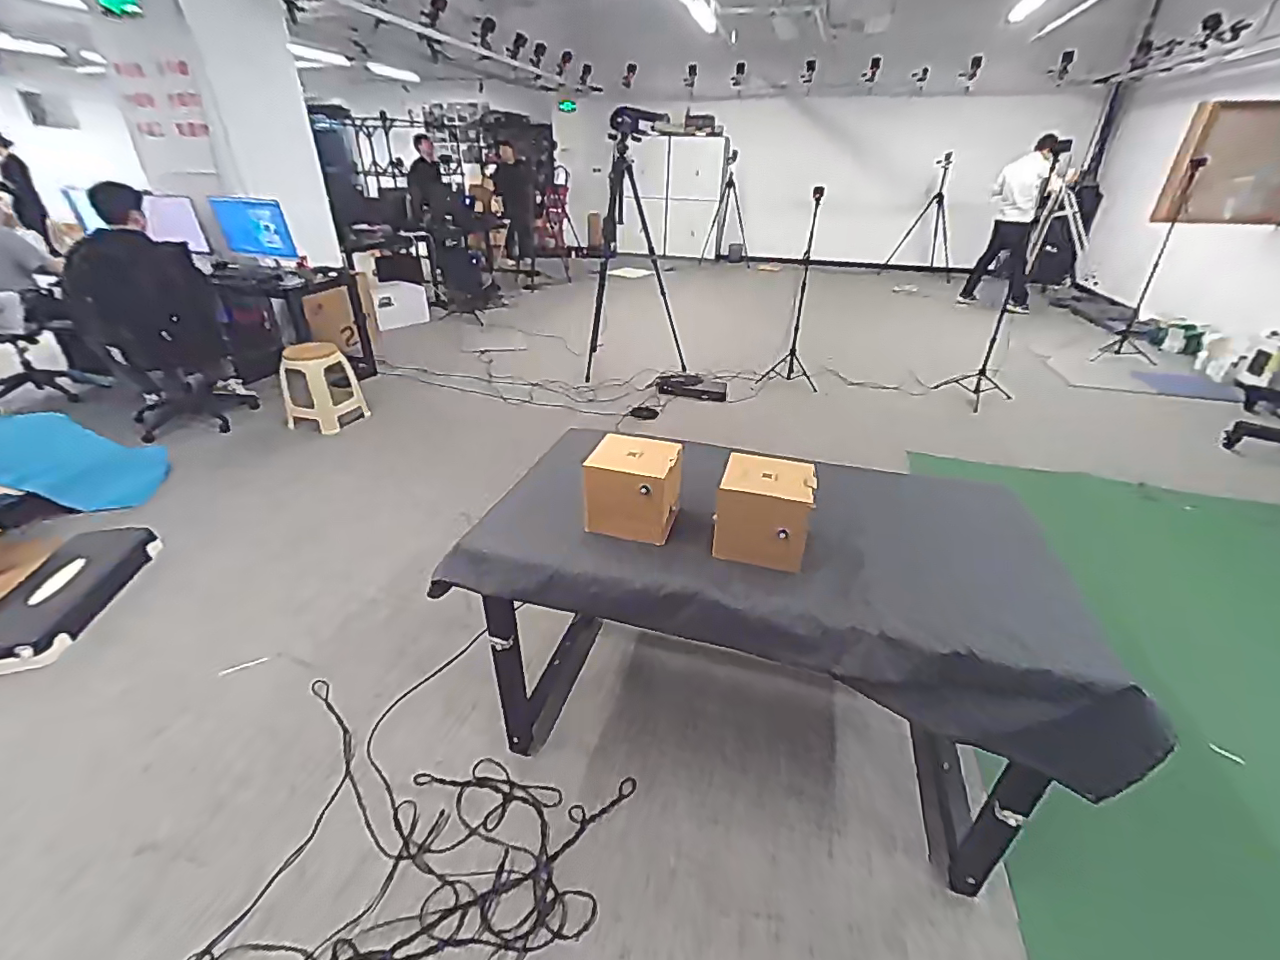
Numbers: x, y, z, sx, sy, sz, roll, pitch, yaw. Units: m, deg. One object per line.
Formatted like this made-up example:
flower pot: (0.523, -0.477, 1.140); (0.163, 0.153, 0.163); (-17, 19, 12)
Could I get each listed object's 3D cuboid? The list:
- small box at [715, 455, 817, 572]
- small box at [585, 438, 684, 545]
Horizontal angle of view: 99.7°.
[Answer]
small box: (0.258, 0.068, 1.105); (0.179, 0.176, 0.168); (8, 29, 15)
small box: (-0.009, 0.024, 1.180); (0.179, 0.176, 0.168); (9, 30, 13)
